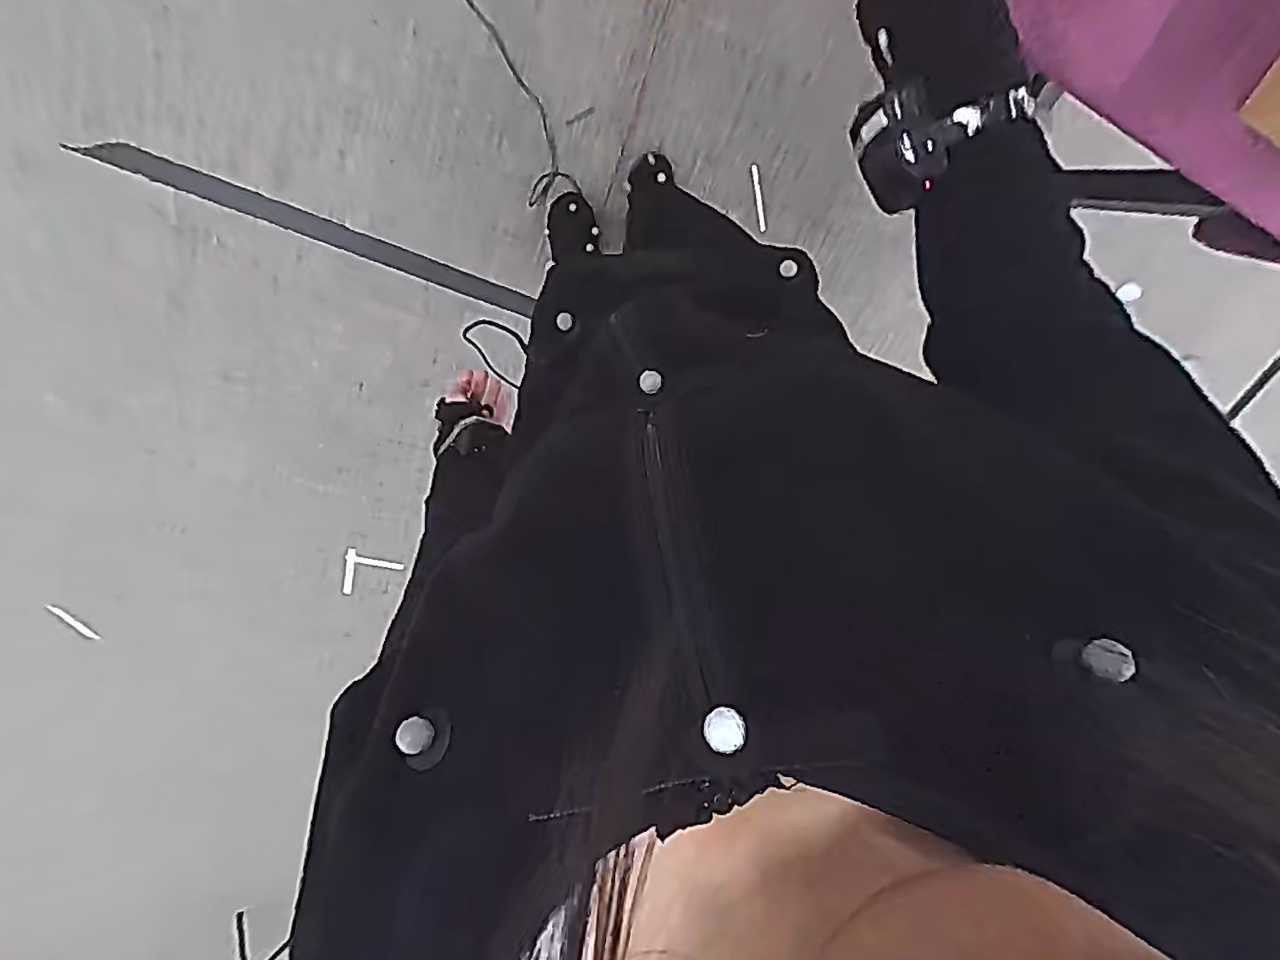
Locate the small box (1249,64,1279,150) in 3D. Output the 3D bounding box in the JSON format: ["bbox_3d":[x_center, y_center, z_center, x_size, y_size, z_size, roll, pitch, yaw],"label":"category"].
[{"bbox_3d":[0.746,-0.392,0.487,0.168,0.176,0.179,17,116,-16],"label":"small box"}]
